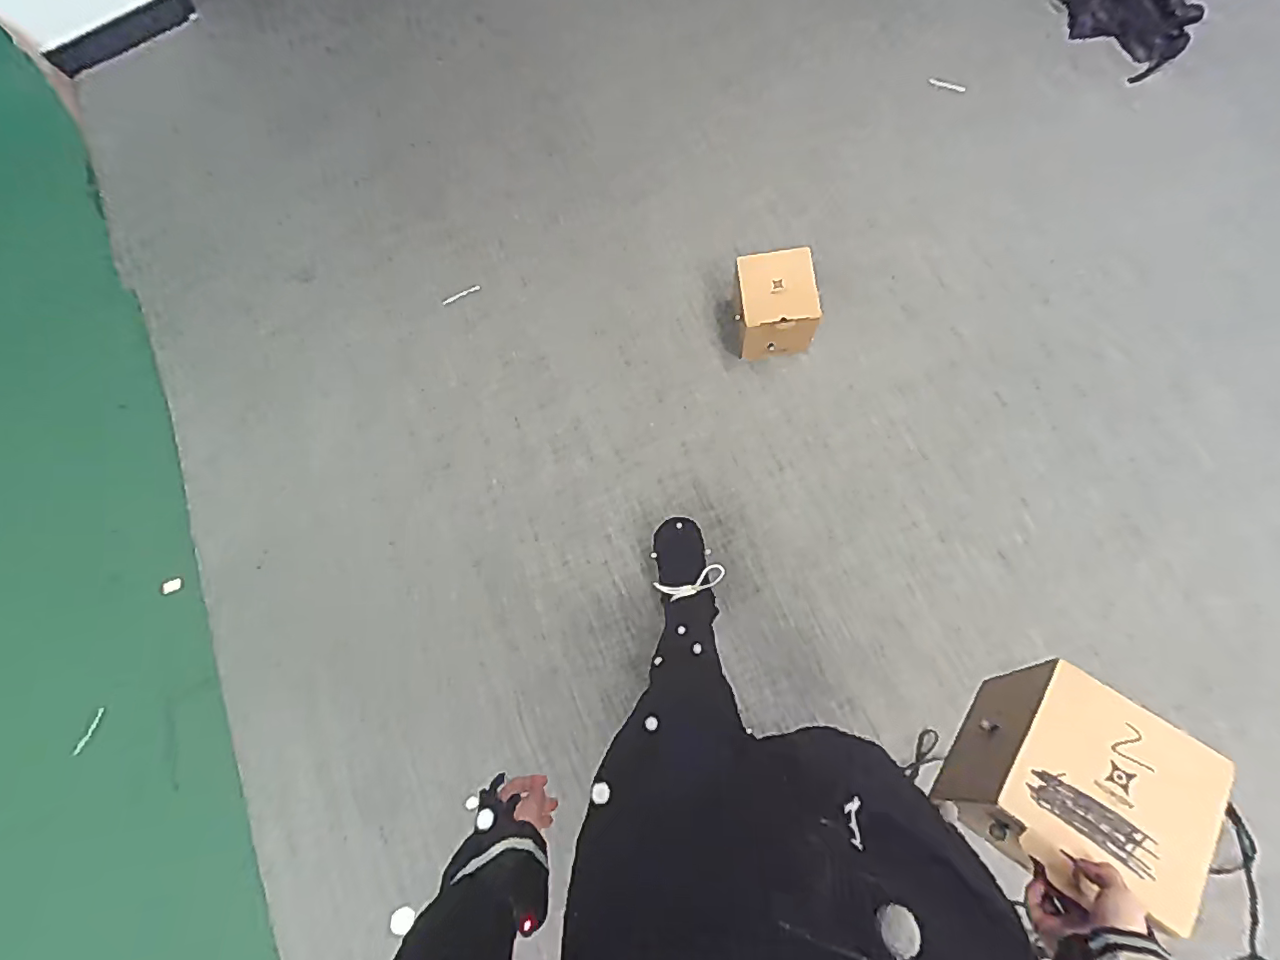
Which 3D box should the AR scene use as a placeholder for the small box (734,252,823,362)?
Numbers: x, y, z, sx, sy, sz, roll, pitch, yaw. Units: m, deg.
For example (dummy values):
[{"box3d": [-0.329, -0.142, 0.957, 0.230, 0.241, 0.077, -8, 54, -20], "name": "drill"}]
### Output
[{"box3d": [0.315, -0.399, 1.265, 0.168, 0.176, 0.179, -6, 76, 5], "name": "small box"}]
